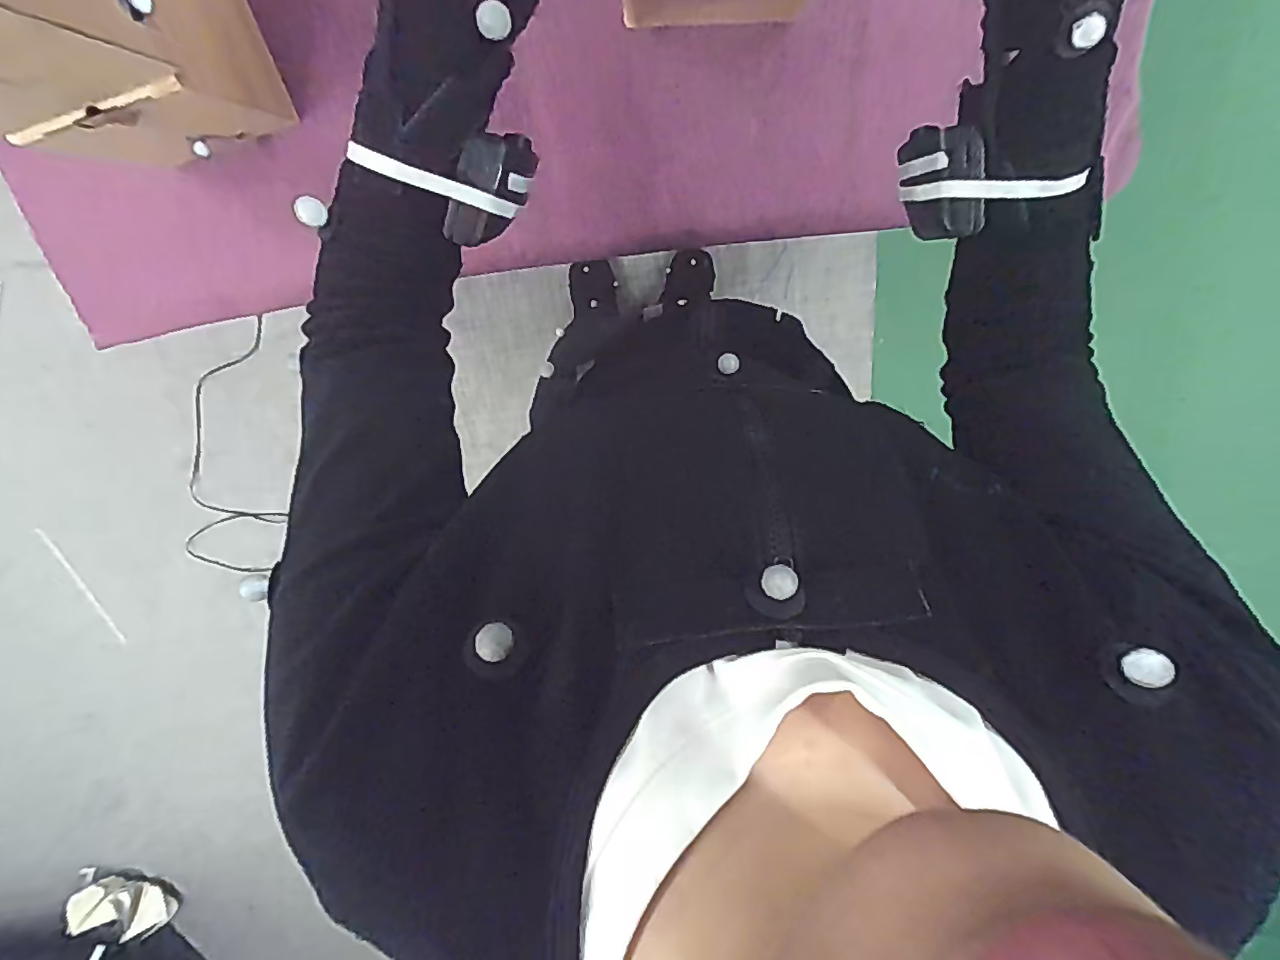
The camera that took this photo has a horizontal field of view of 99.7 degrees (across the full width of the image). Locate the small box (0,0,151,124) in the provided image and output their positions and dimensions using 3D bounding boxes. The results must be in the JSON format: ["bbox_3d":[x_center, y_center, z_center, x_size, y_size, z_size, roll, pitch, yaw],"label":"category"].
[{"bbox_3d":[-0.464,-0.344,0.330,0.179,0.176,0.168,-10,112,6],"label":"small box"}]

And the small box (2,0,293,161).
[{"bbox_3d":[-0.466,-0.411,0.484,0.168,0.176,0.179,-12,115,8],"label":"small box"}]

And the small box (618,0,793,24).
[{"bbox_3d":[0.061,-0.496,0.433,0.179,0.176,0.168,-1,115,2],"label":"small box"}]
